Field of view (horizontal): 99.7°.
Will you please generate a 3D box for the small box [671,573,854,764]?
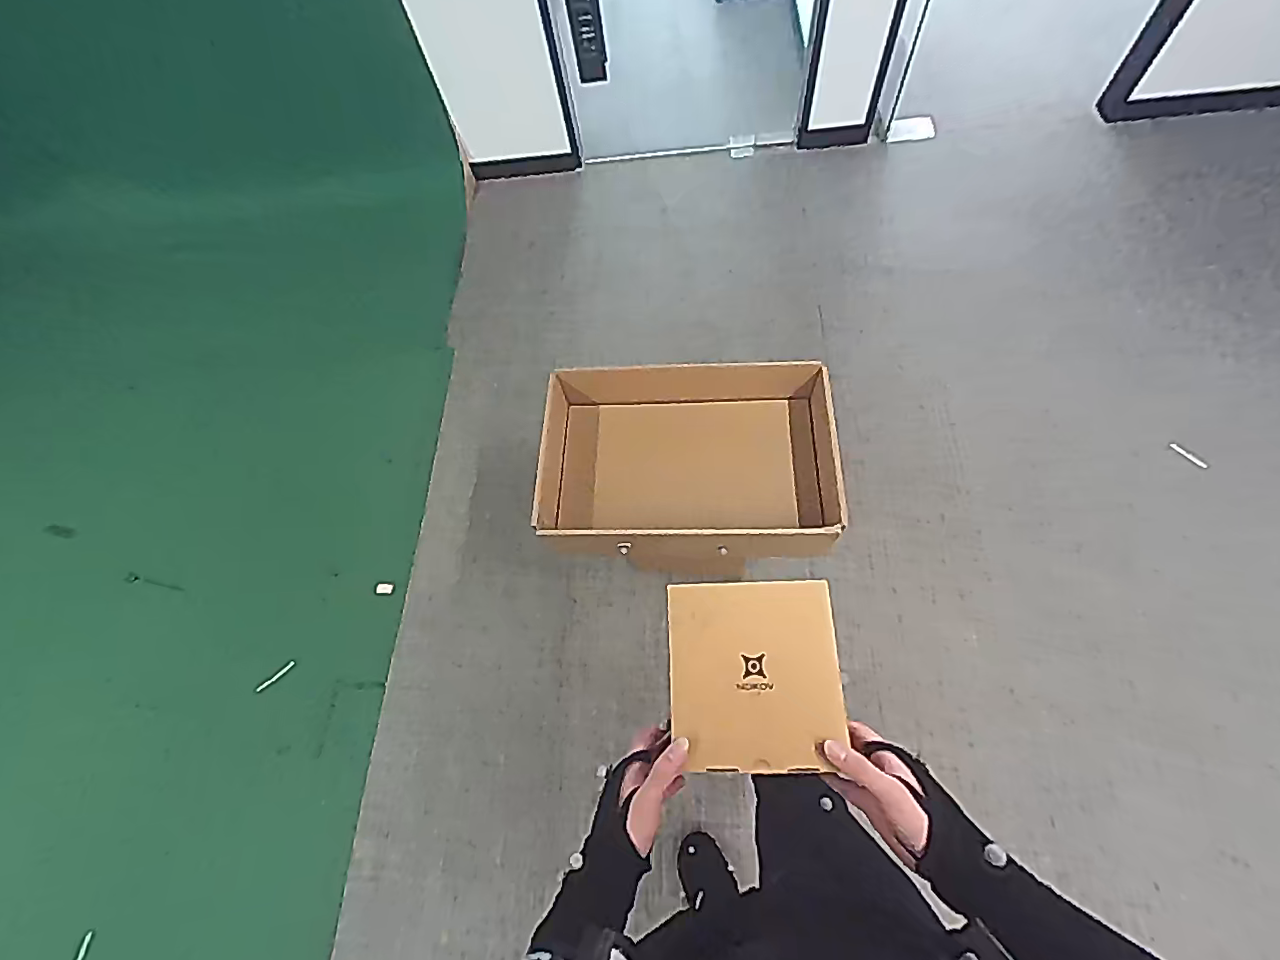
[{"bbox_3d":[0.119,0.208,0.601,0.168,0.176,0.179,-3,69,4],"label":"small box"}]
